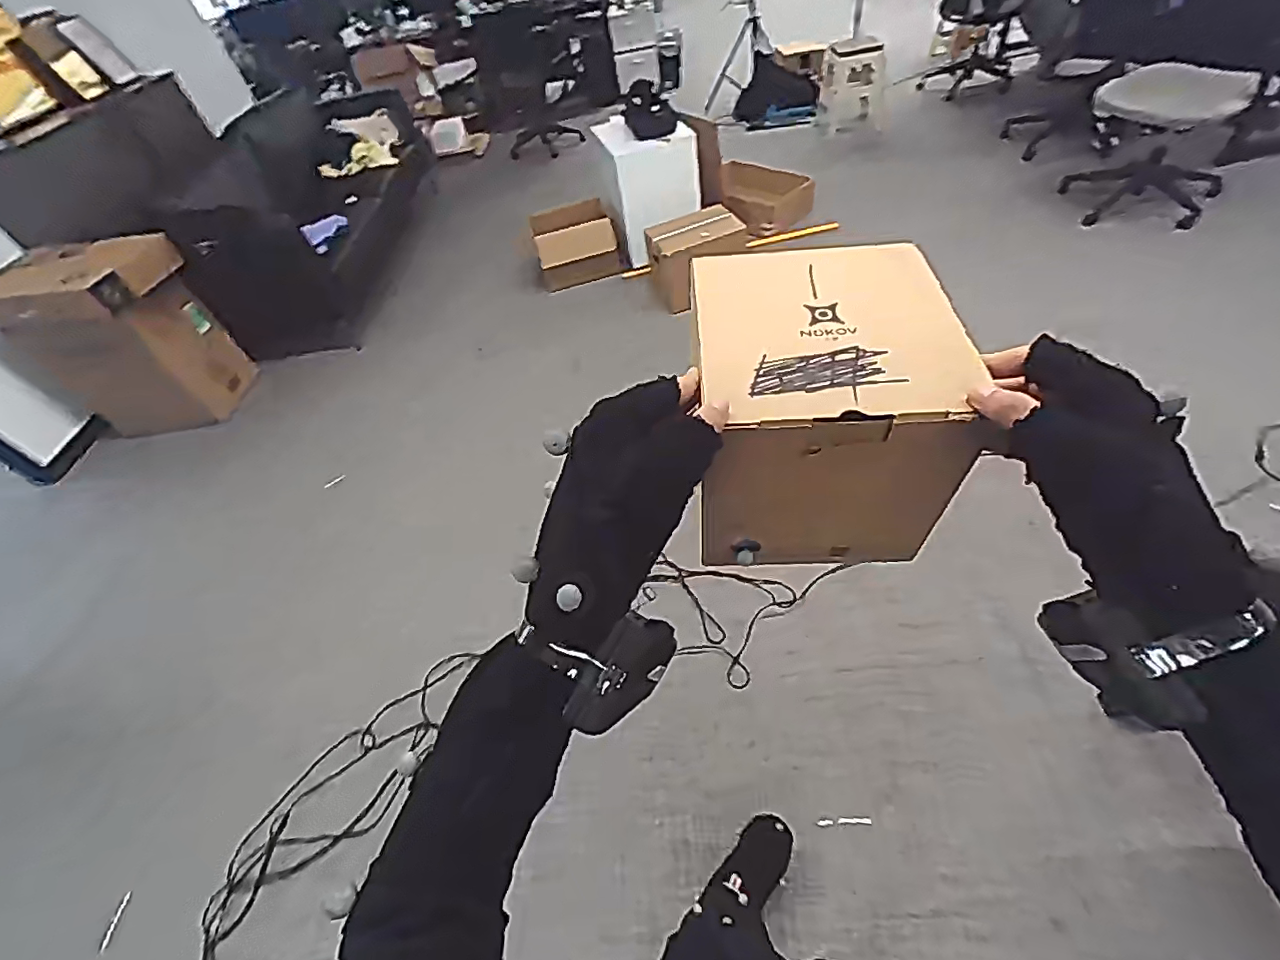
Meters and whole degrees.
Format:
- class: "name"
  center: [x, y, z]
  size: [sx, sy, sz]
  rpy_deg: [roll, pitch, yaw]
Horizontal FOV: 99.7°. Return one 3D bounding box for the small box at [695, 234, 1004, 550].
- class: "small box"
  center: [0.128, -0.057, 0.411]
  size: [0.168, 0.176, 0.179]
  rpy_deg: [-2, 53, 5]
